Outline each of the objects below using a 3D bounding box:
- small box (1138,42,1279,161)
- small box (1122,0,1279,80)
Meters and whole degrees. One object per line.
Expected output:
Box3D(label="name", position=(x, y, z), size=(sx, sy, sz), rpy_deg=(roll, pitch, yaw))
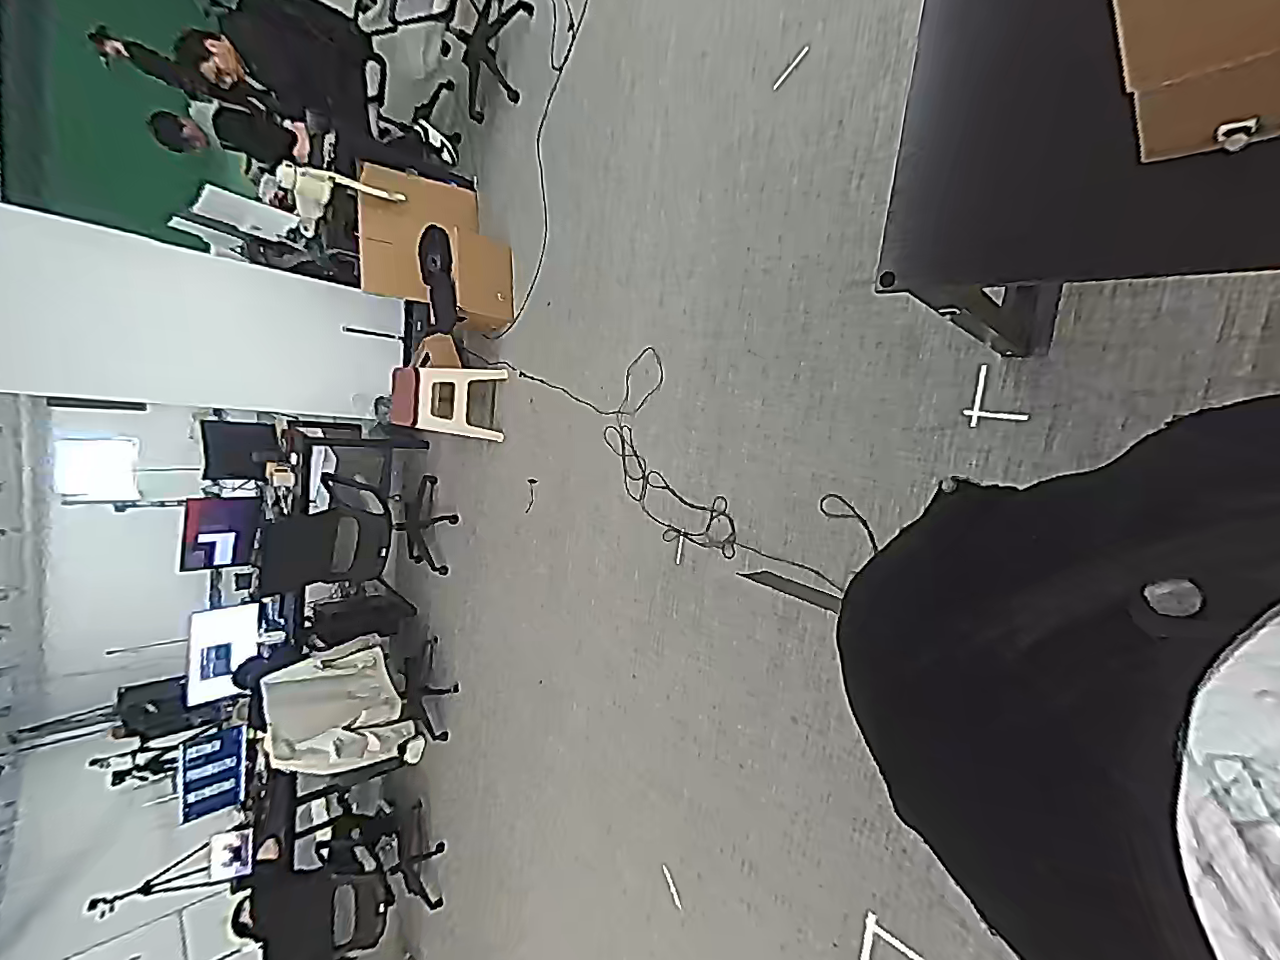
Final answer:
Box3D(label="small box", position=(0.559, -0.419, 0.469), size=(0.168, 0.176, 0.179), rpy_deg=(9, 98, 46))
Box3D(label="small box", position=(0.440, -0.415, 0.355), size=(0.179, 0.176, 0.168), rpy_deg=(9, 96, 45))
